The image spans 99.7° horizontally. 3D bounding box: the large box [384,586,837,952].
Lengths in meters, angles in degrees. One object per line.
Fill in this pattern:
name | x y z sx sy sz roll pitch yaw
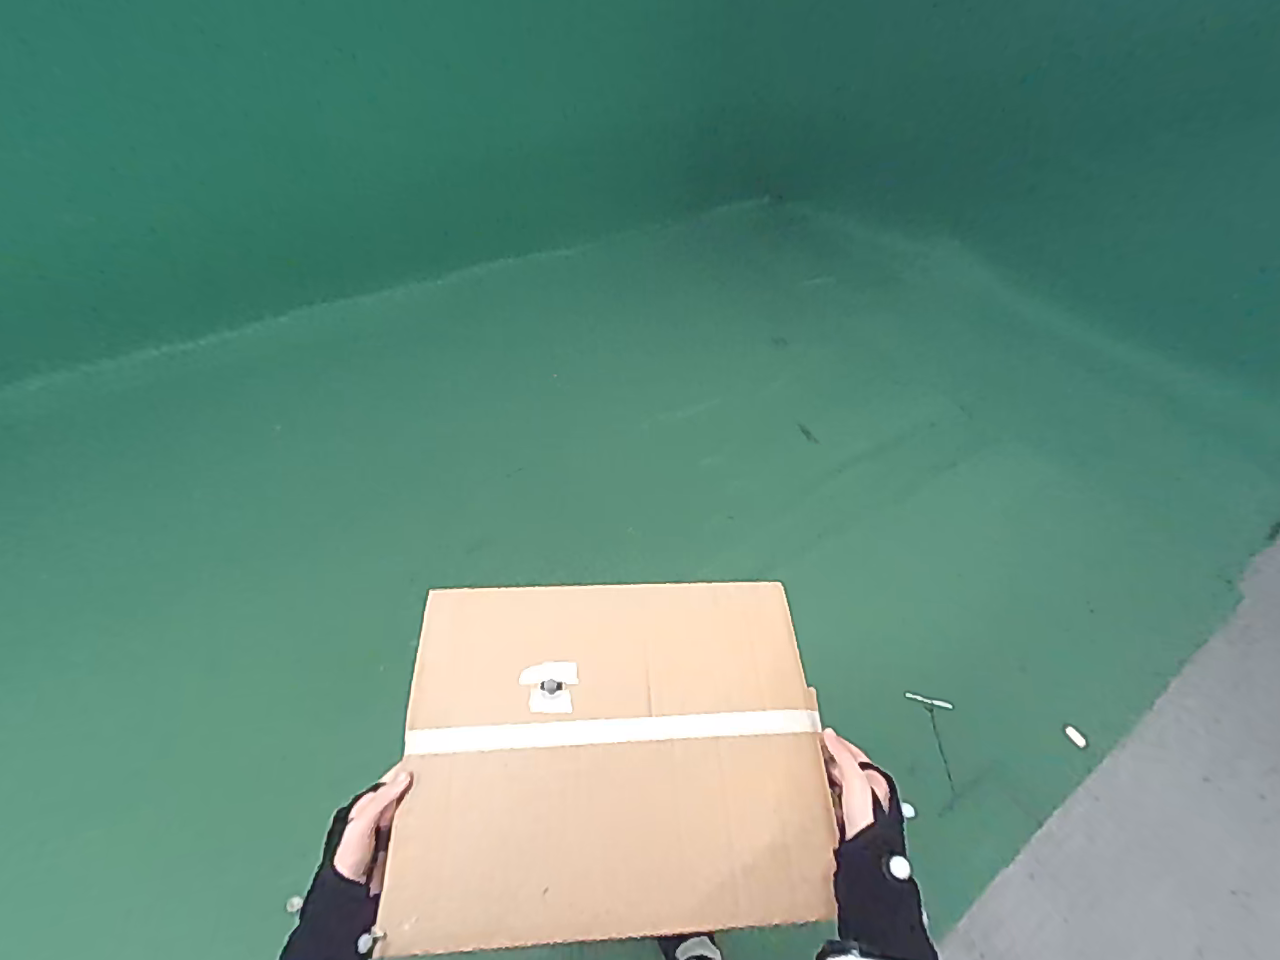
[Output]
large box | -0.036 0.340 0.673 0.408 0.320 0.320 -1 56 -5
